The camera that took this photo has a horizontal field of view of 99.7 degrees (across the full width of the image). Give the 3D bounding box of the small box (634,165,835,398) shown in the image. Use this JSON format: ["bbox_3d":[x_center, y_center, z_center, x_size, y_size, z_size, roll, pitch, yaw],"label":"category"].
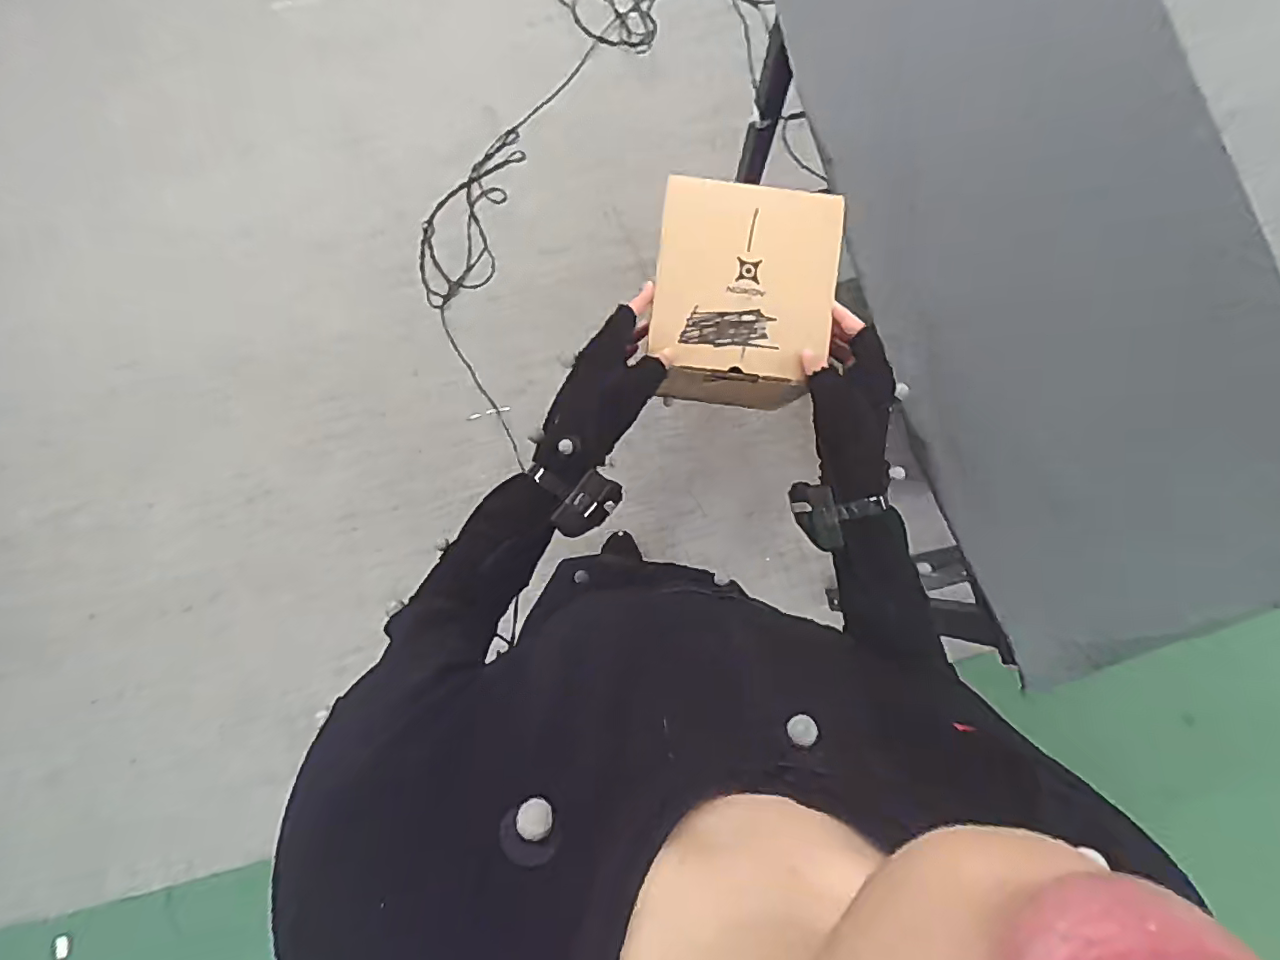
[{"bbox_3d":[0.085,-0.188,0.566,0.168,0.176,0.179,6,89,-1],"label":"small box"}]
